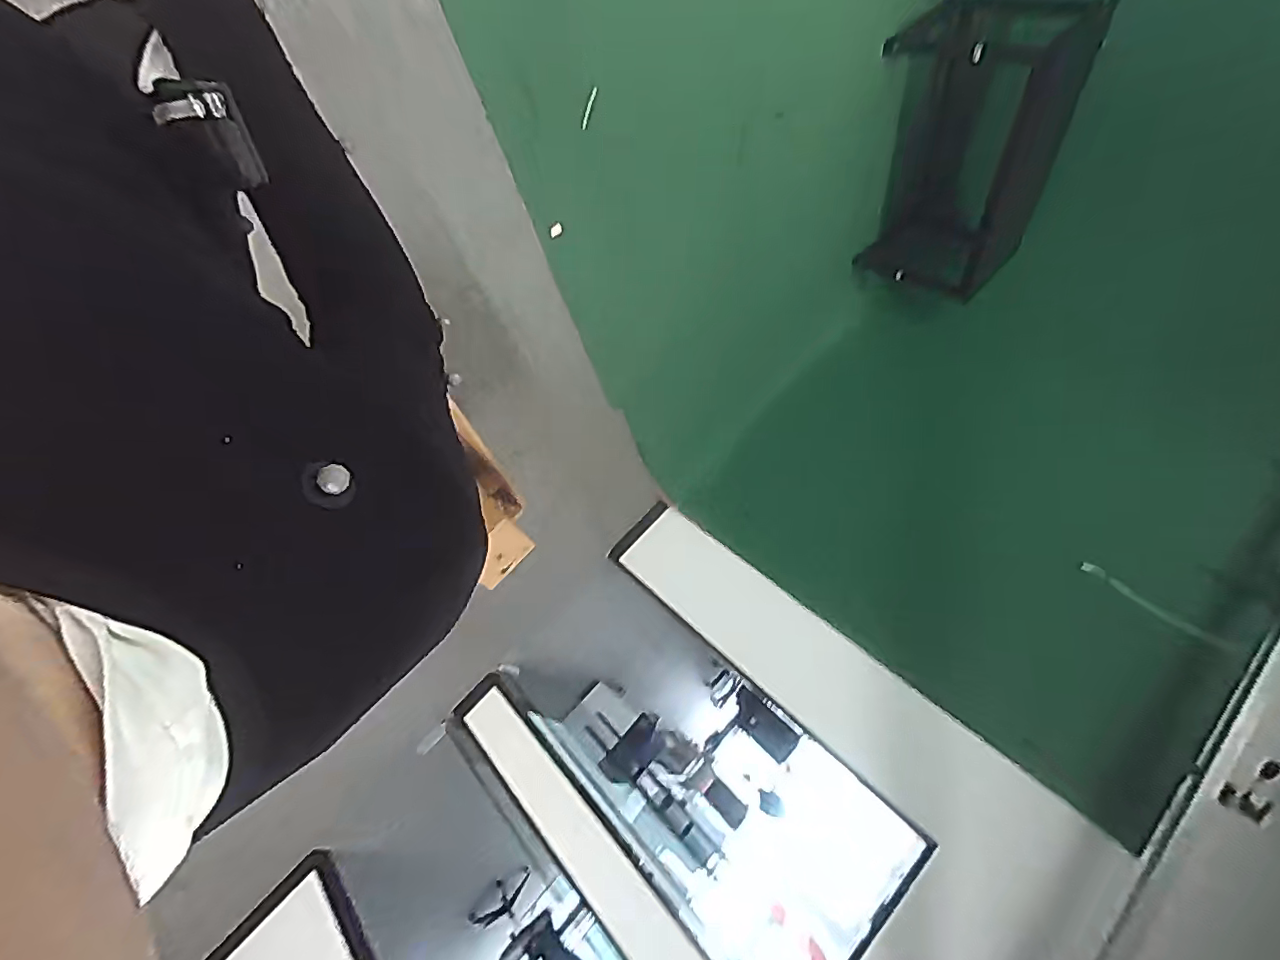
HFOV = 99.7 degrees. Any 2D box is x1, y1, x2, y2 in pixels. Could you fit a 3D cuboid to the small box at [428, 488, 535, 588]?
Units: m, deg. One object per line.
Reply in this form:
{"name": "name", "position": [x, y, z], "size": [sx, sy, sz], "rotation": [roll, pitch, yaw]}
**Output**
{"name": "small box", "position": [-0.414, 0.145, 1.408], "size": [0.168, 0.176, 0.179], "rotation": [-45, 147, -11]}
